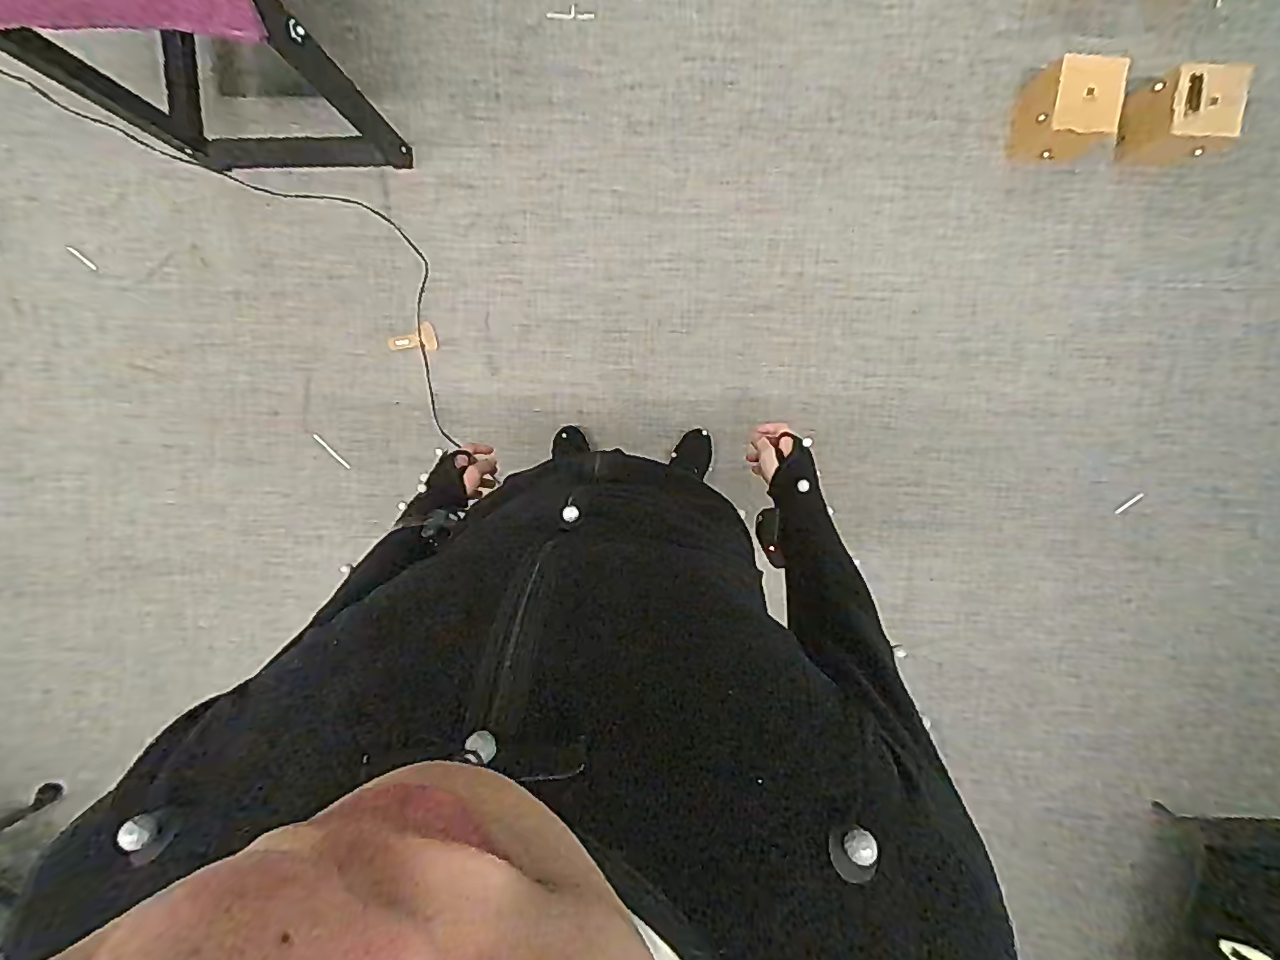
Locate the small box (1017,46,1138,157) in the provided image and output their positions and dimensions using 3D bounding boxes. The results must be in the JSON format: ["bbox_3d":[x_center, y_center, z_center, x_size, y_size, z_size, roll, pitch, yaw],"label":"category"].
[{"bbox_3d":[1.119,-0.970,1.397,0.168,0.176,0.179,4,99,1],"label":"small box"}]
